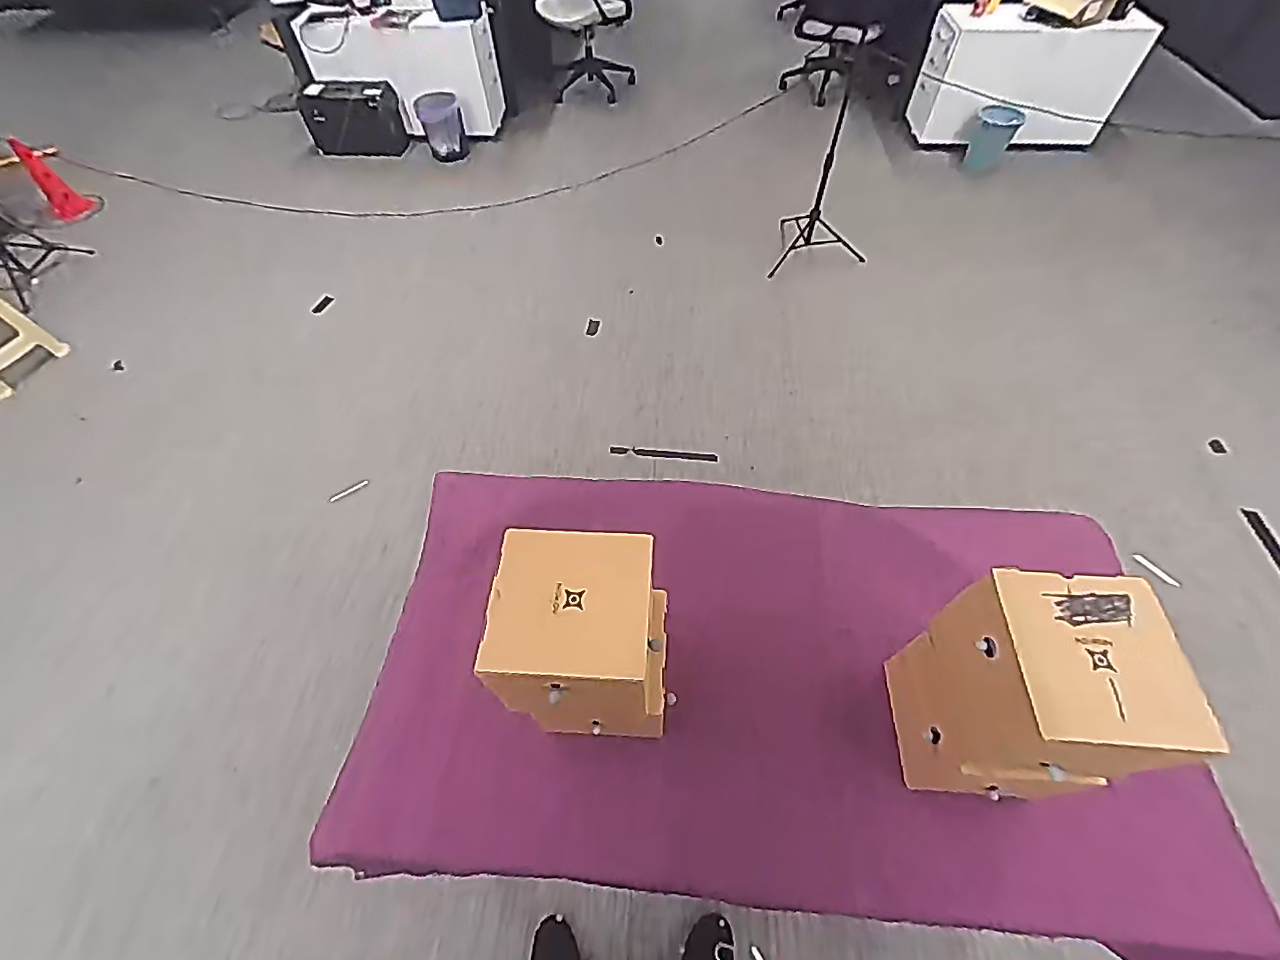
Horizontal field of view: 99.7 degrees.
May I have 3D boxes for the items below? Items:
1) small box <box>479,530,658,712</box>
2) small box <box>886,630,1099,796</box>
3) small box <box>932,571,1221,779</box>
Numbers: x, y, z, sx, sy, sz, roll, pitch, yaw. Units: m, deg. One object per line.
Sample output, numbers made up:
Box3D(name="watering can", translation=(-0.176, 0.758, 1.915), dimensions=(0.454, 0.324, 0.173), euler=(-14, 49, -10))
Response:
Box3D(name="small box", translation=(-0.070, 0.175, 0.653), dimensions=(0.179, 0.176, 0.168), euler=(2, 56, 4))
Box3D(name="small box", translation=(0.459, 0.323, 0.740), dimensions=(0.168, 0.176, 0.179), euler=(4, 56, 3))
Box3D(name="small box", translation=(0.458, 0.222, 0.610), dimensions=(0.168, 0.176, 0.179), euler=(4, 56, 4))
